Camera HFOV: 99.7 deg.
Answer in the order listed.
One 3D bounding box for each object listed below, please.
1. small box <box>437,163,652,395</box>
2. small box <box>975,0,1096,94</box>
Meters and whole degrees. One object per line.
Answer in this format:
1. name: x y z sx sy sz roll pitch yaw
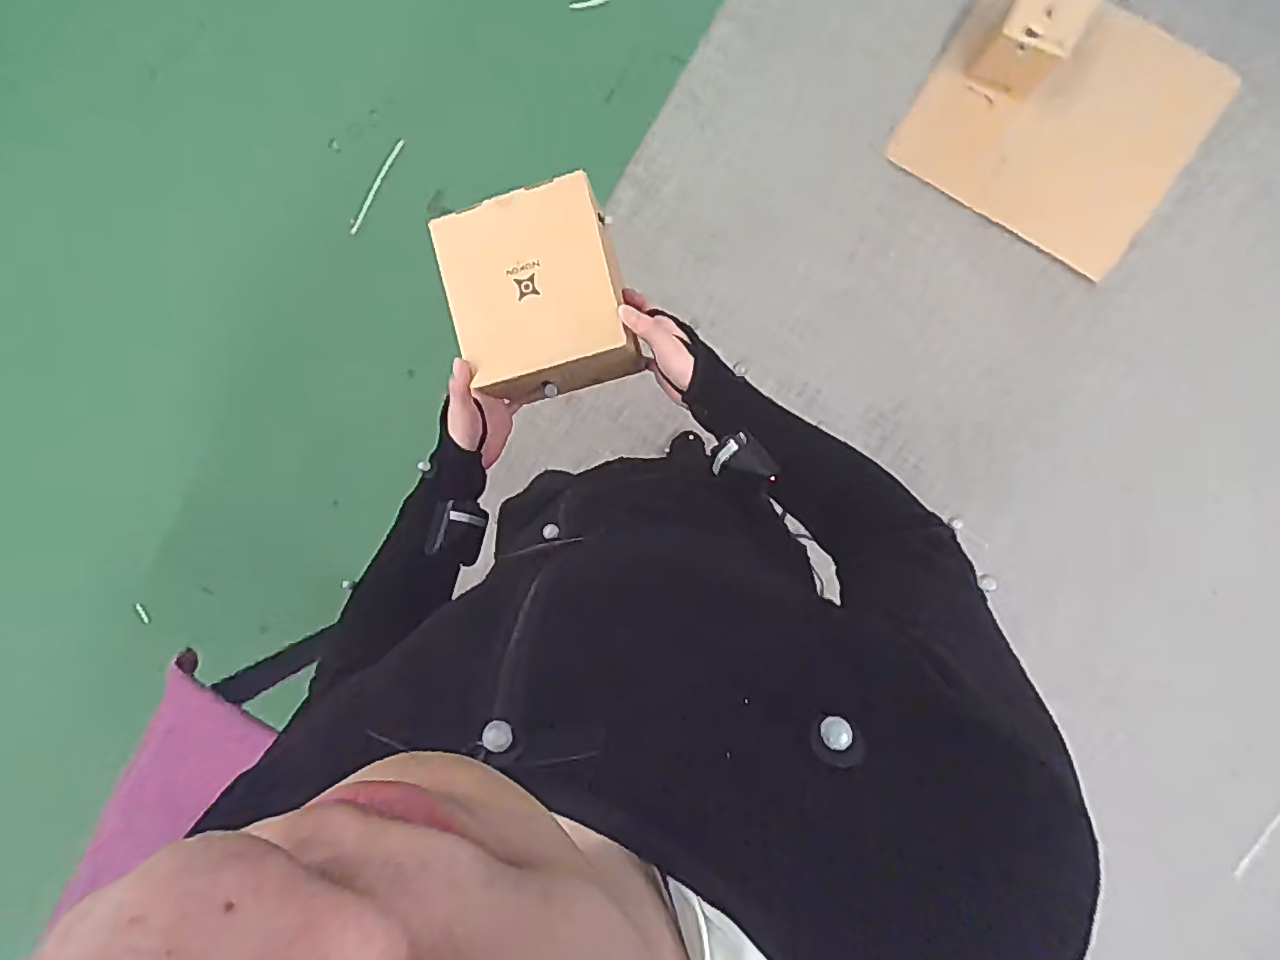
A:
1. small box: -0.091 -0.199 0.597 0.168 0.176 0.179 -14 89 8
2. small box: 0.980 -1.124 1.346 0.168 0.176 0.179 25 96 3
